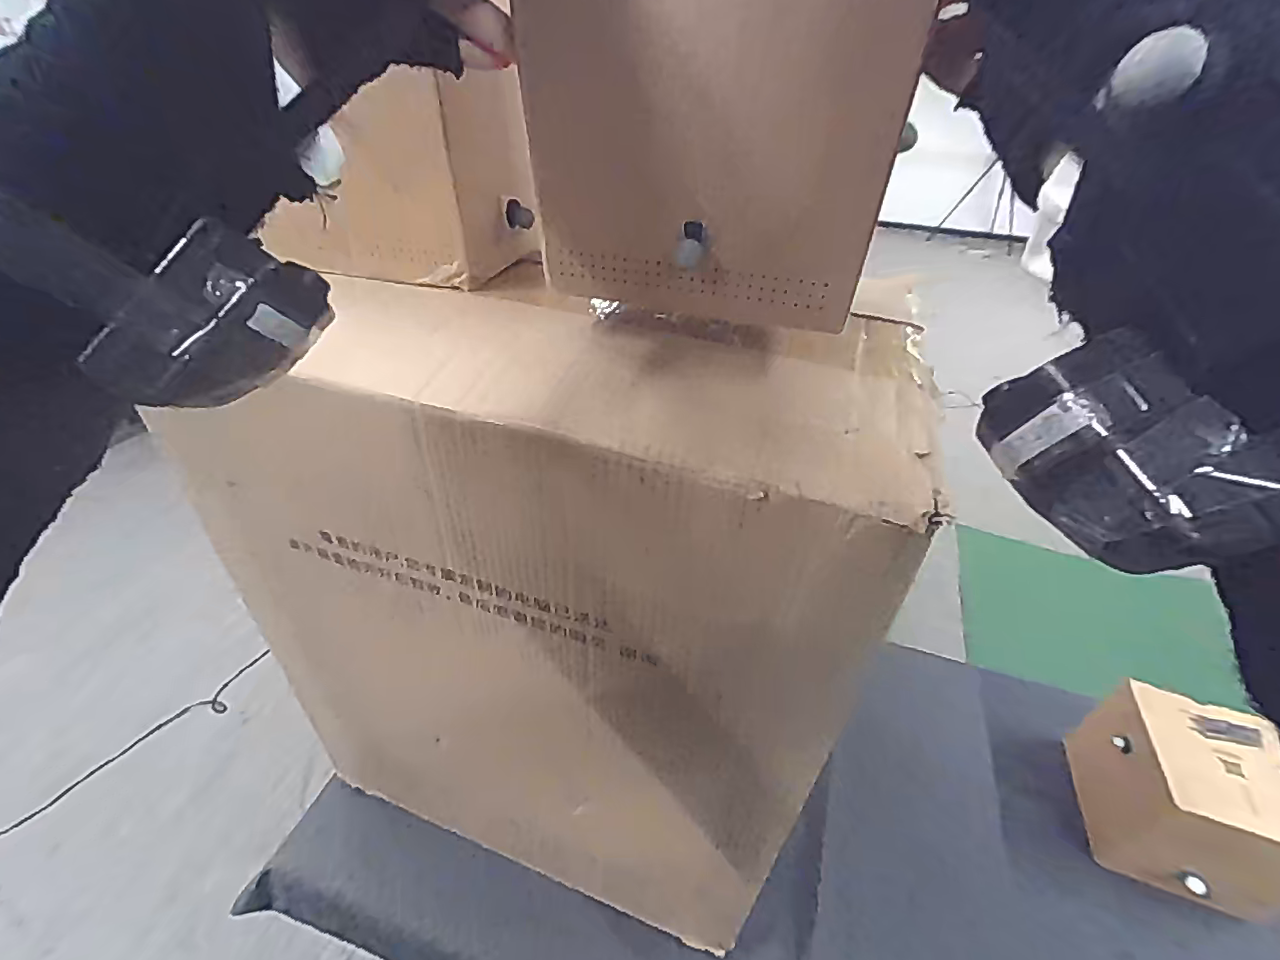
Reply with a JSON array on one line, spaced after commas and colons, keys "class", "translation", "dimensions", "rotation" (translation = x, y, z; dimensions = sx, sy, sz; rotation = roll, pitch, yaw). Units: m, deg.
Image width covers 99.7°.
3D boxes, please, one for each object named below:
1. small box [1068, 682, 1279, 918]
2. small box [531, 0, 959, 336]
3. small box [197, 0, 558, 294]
[{"class": "small box", "translation": [0.692, 0.403, 0.691], "dimensions": [0.168, 0.176, 0.179], "rotation": [15, 38, 15]}, {"class": "small box", "translation": [0.056, -0.204, 0.316], "dimensions": [0.179, 0.176, 0.168], "rotation": [13, 46, 11]}, {"class": "small box", "translation": [-0.168, -0.258, 0.419], "dimensions": [0.179, 0.176, 0.168], "rotation": [12, 41, 11]}]
